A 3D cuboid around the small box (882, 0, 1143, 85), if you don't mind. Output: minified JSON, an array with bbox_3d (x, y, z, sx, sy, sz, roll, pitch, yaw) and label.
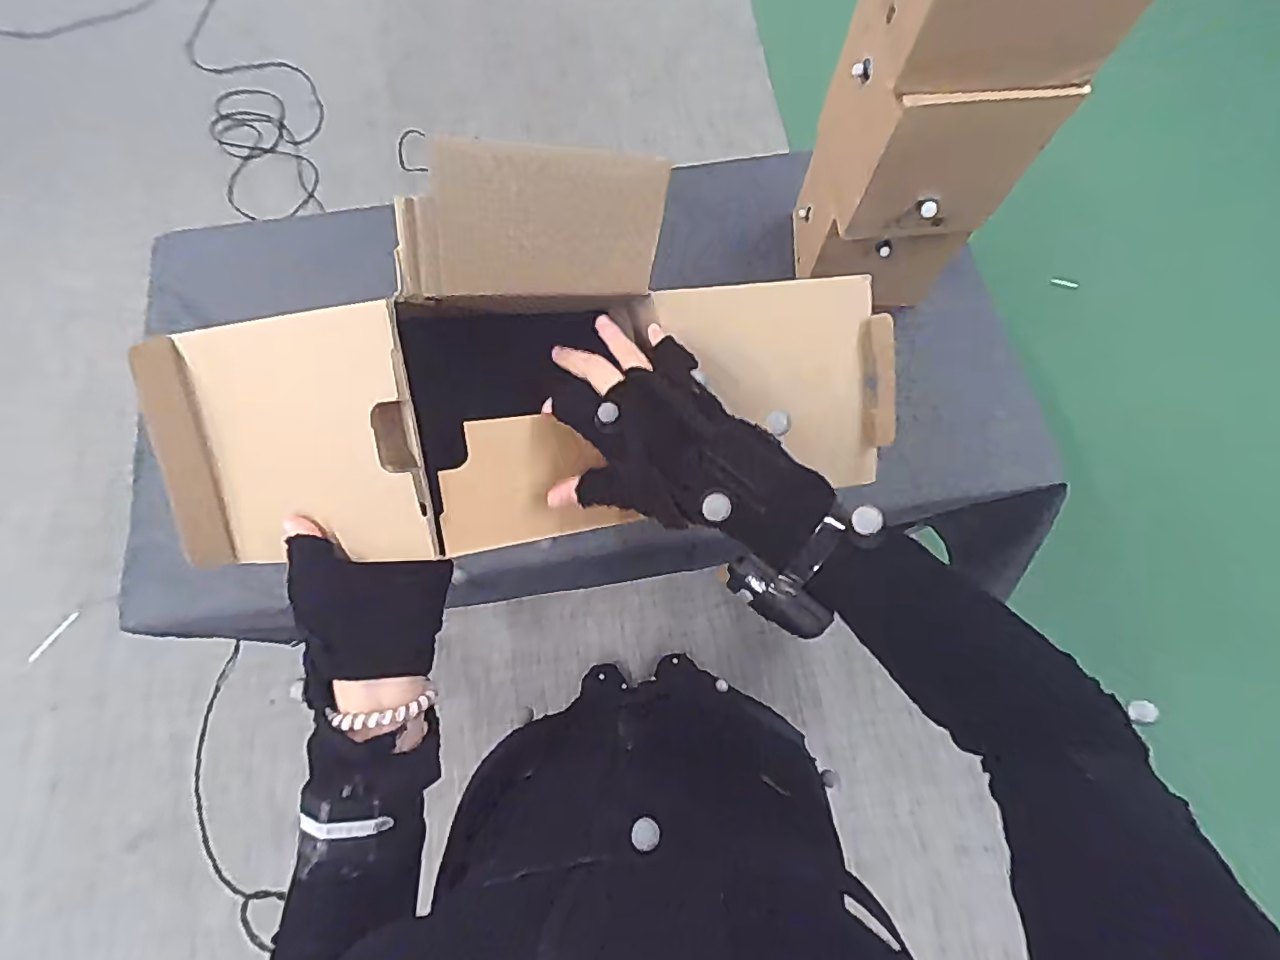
[{"bbox_3d":[0.300,-0.440,0.414,0.179,0.176,0.168,-1,74,1],"label":"small box"}]

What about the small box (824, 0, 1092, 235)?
[{"bbox_3d":[0.307,-0.390,0.569,0.168,0.176,0.179,-4,73,1],"label":"small box"}]

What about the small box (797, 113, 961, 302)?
[{"bbox_3d":[0.317,-0.360,0.731,0.179,0.176,0.168,3,73,1],"label":"small box"}]
